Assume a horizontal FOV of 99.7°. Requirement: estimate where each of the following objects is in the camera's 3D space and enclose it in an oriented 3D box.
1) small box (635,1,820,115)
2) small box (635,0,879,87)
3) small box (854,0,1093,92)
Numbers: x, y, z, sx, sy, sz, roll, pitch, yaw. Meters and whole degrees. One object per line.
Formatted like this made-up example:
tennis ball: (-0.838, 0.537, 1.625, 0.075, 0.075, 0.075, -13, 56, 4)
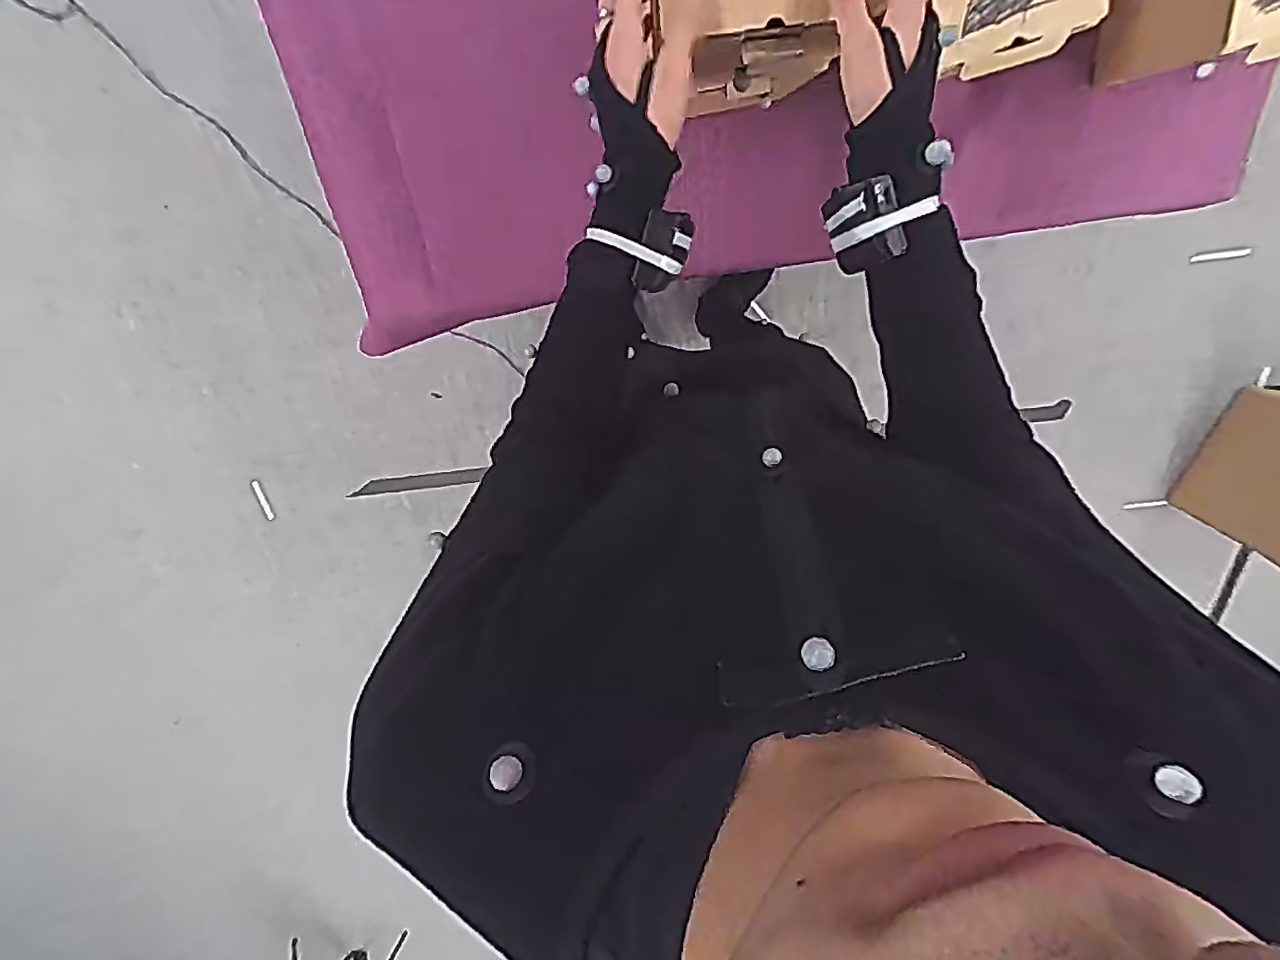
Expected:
small box: (0.083, -0.504, 0.570, 0.168, 0.176, 0.179, -10, 117, 2)
small box: (0.078, -0.435, 0.420, 0.168, 0.176, 0.179, -6, 117, 0)
small box: (0.334, -0.534, 0.564, 0.168, 0.176, 0.179, -15, 116, 5)
